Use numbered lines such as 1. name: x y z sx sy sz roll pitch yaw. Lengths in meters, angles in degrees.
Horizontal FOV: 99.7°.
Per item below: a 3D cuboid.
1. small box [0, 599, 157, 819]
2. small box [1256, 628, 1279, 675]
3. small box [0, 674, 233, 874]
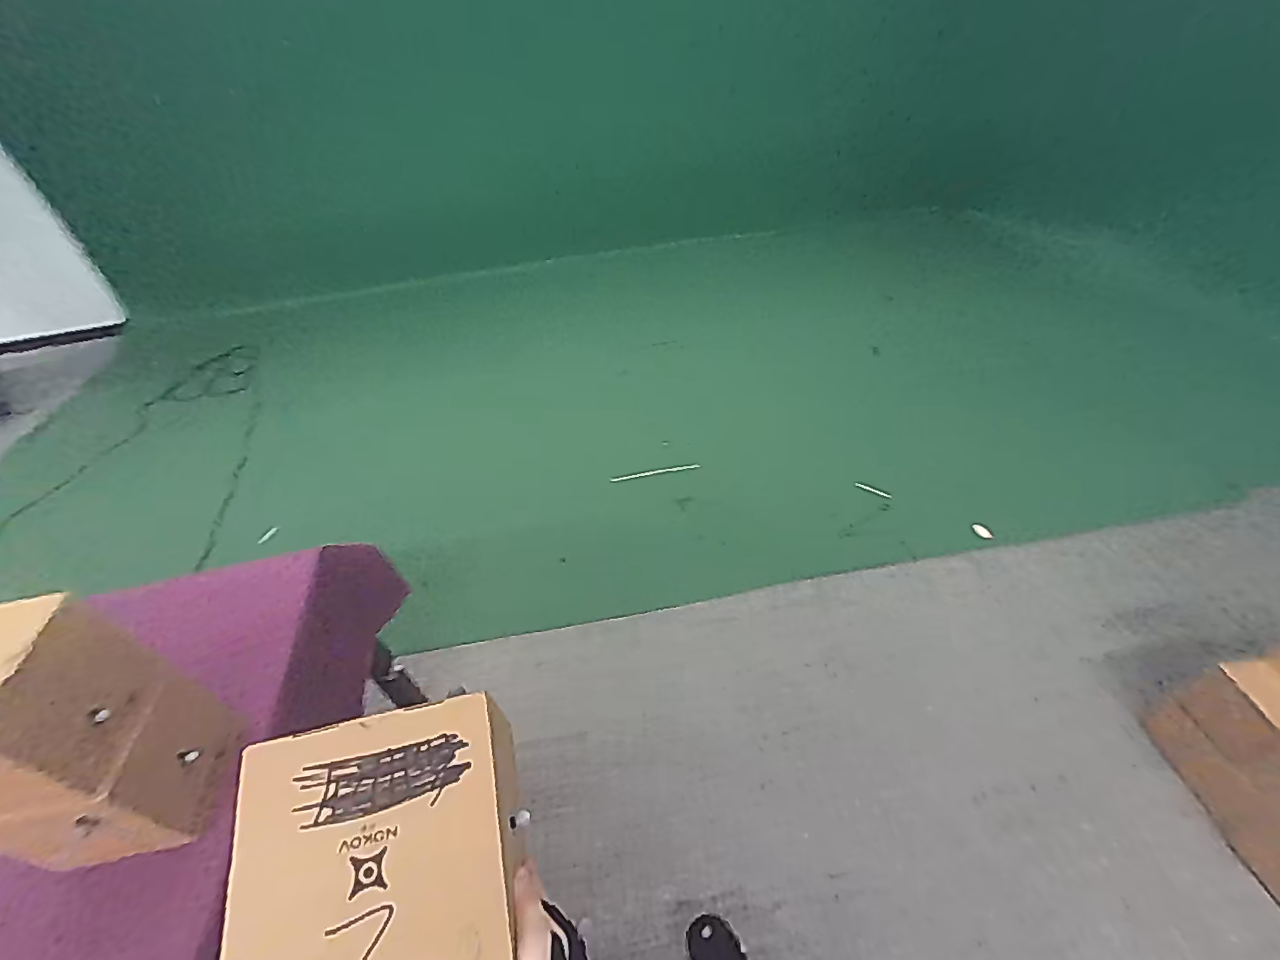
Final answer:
1. small box: -0.709 0.261 0.595 0.179 0.176 0.168 -10 43 -5
2. small box: 1.415 0.345 1.066 0.179 0.176 0.168 -8 42 -3
3. small box: -0.685 0.382 0.703 0.179 0.176 0.168 -12 43 -4
